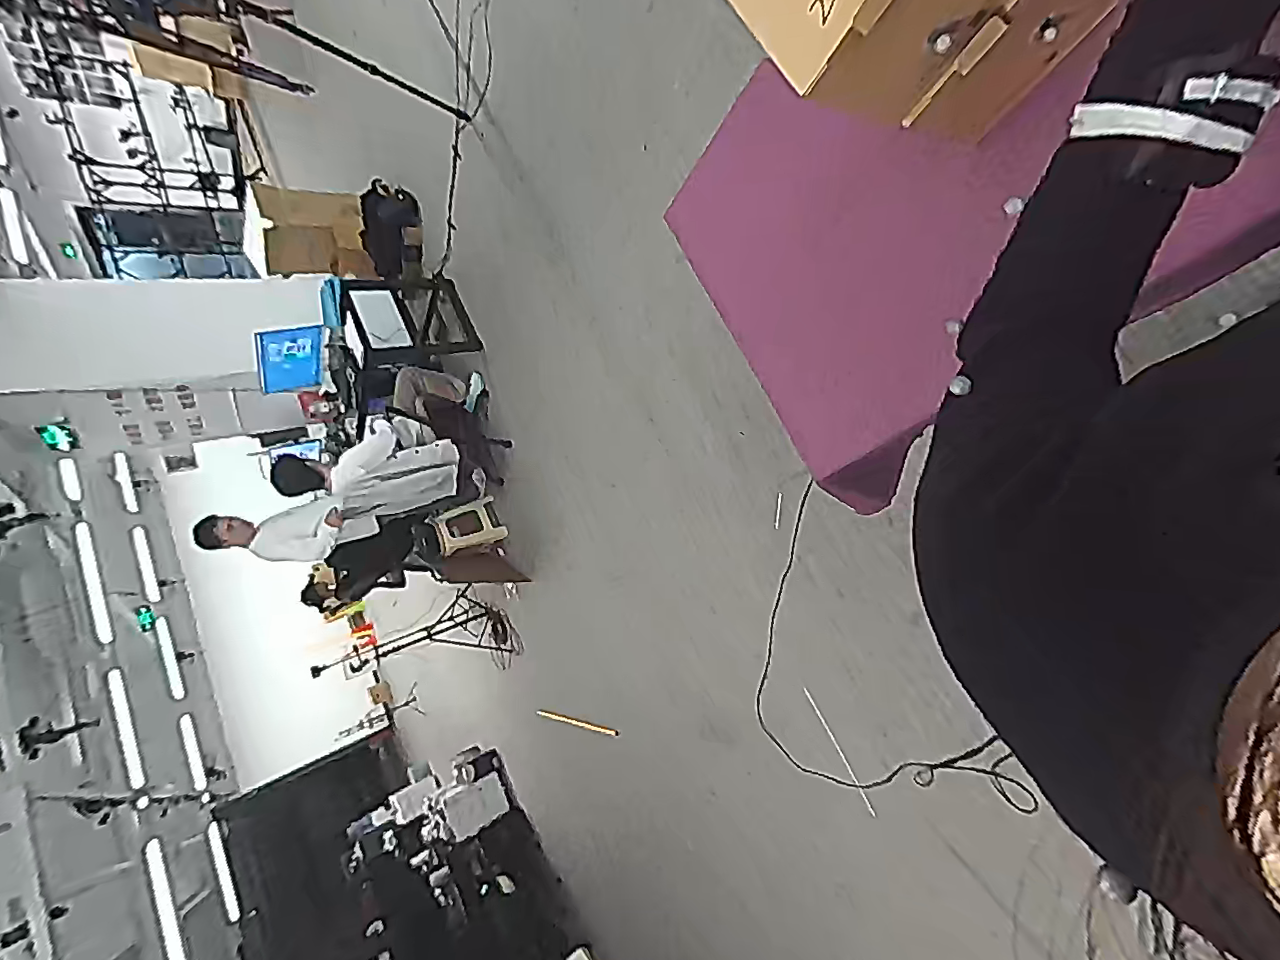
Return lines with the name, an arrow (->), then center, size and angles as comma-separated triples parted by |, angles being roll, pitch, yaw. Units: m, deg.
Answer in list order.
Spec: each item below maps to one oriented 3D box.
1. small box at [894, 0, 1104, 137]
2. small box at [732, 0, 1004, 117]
small box -> 0.342, -0.503, 0.577 | 0.168, 0.176, 0.179 | -43, 69, 50
small box -> 0.206, -0.470, 0.489 | 0.168, 0.176, 0.179 | -44, 68, 50
